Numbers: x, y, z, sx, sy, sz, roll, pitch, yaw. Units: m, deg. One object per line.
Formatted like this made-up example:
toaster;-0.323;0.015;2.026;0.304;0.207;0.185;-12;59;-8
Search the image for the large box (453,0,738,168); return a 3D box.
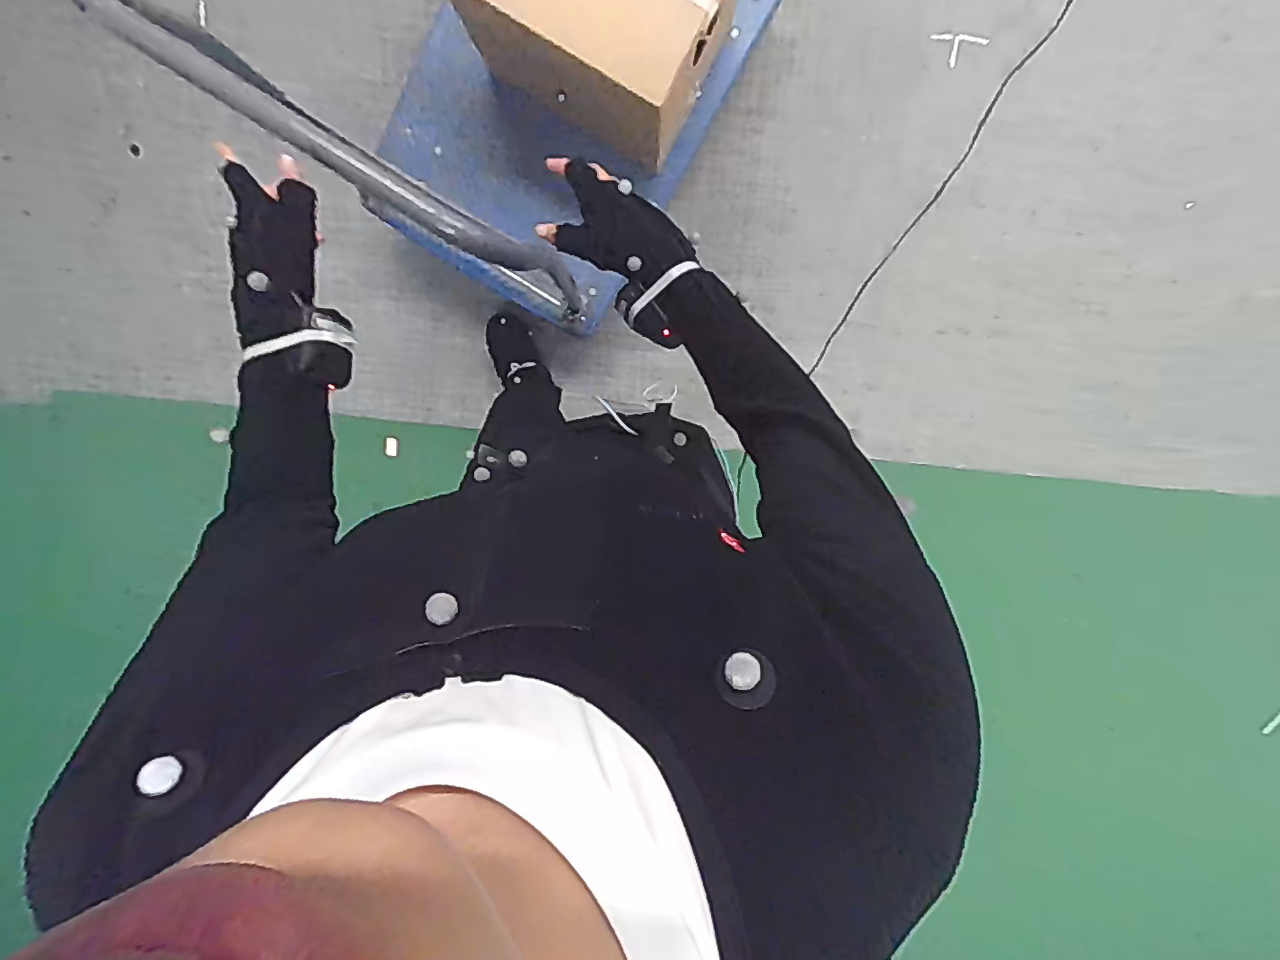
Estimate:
large box;-0.062;-0.843;0.956;0.408;0.320;0.320;29;101;-4
